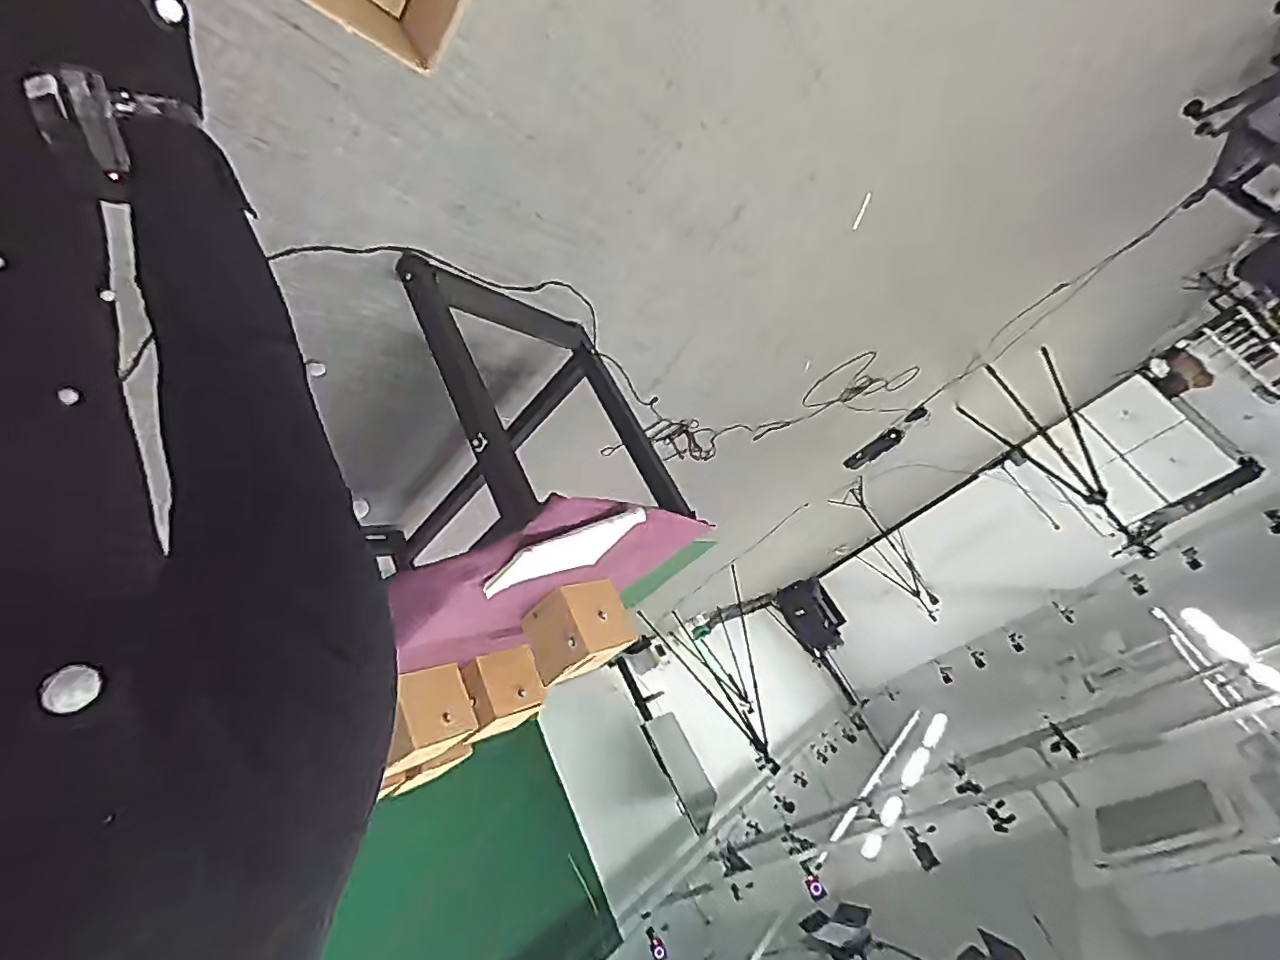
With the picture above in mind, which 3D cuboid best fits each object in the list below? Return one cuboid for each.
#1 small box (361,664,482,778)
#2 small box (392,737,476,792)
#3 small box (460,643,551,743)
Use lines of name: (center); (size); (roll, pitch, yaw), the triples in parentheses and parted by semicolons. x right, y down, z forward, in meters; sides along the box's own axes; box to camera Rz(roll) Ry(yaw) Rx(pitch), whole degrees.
small box: (-0.505, 0.545, 1.247); (0.168, 0.176, 0.179); (-40, 156, 22)
small box: (-0.615, 0.760, 1.565); (0.168, 0.176, 0.179); (-39, 155, 21)
small box: (-0.375, 0.558, 1.435); (0.168, 0.176, 0.179); (-42, 155, 27)
